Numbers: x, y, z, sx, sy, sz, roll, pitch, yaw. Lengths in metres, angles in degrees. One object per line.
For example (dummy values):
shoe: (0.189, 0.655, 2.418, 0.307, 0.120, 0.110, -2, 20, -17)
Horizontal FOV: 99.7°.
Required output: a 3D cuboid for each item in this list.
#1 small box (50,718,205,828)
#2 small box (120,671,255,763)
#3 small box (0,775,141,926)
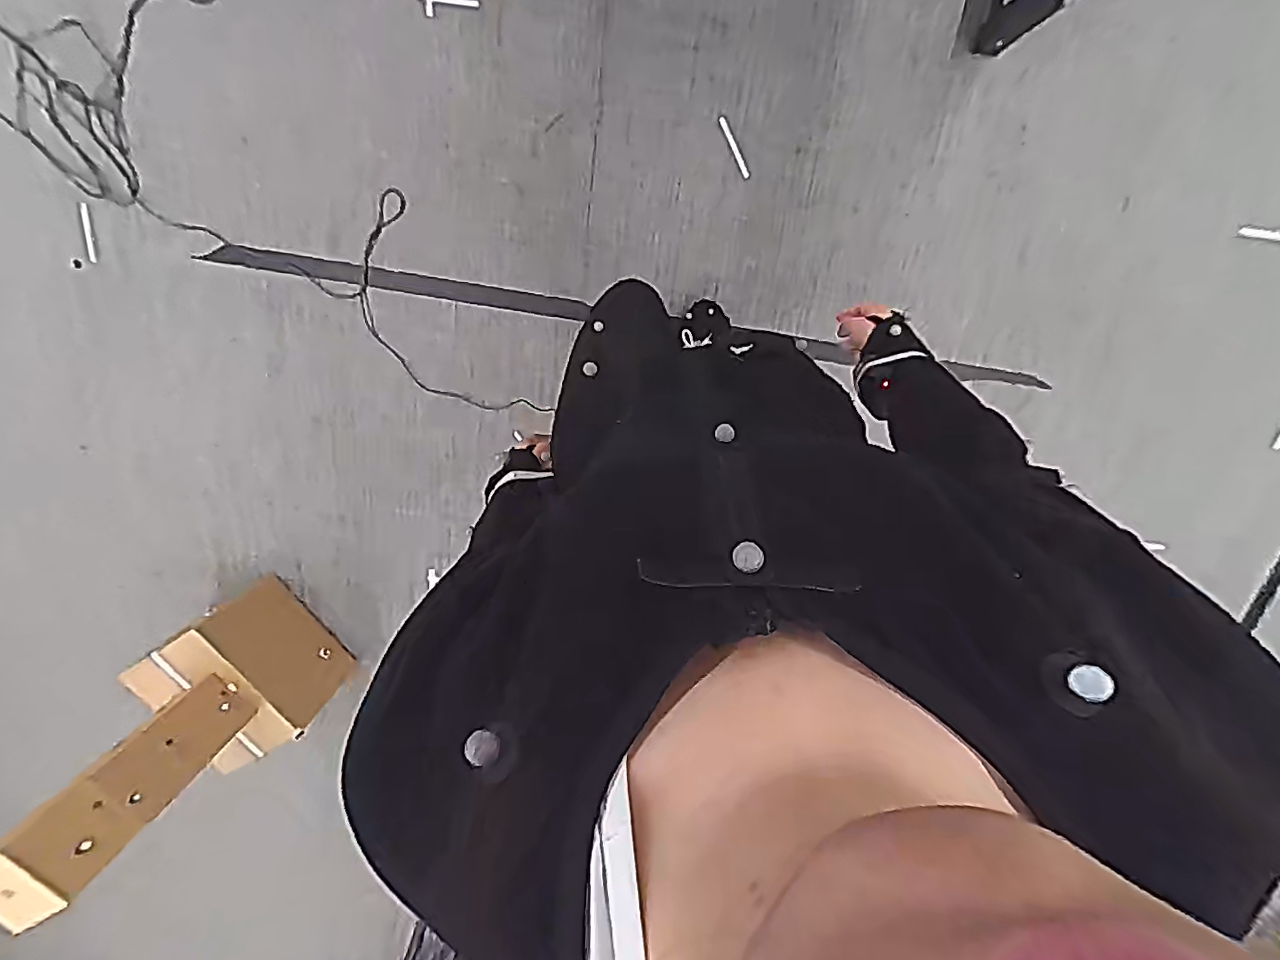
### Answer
small box: (-1.179, 0.695, 1.256, 0.179, 0.176, 0.168, -31, 105, 13)
small box: (-1.168, 0.639, 1.410, 0.179, 0.176, 0.168, -31, 105, 12)
small box: (-1.187, 0.745, 1.101, 0.179, 0.176, 0.168, -31, 105, 13)
